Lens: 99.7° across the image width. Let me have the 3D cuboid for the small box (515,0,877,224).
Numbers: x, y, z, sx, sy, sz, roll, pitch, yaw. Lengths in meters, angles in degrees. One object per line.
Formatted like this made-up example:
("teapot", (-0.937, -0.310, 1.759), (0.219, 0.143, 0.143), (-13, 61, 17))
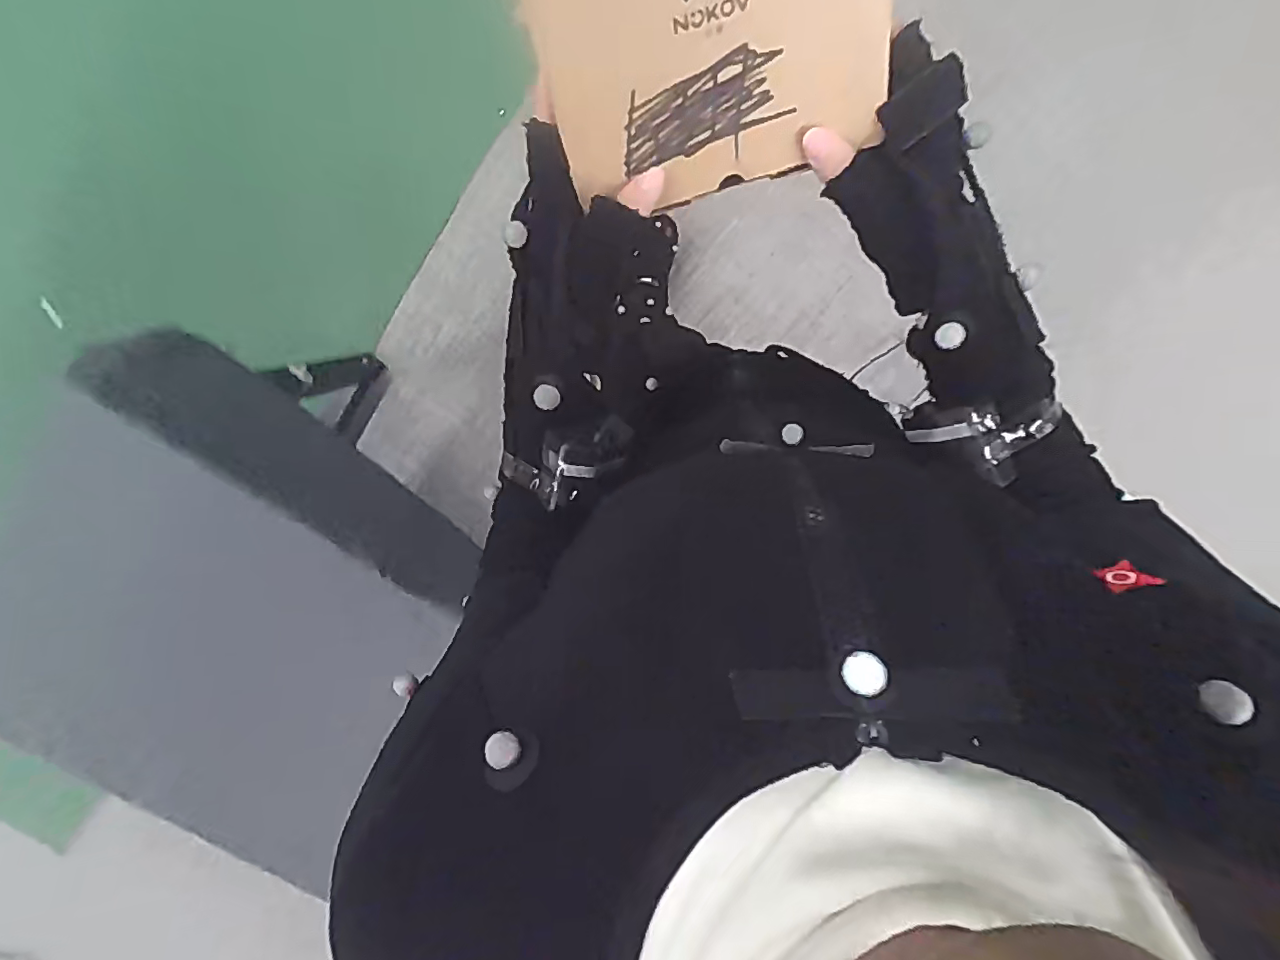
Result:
("small box", (0.023, -0.283, 0.306), (0.168, 0.176, 0.179), (-14, 133, 10))
